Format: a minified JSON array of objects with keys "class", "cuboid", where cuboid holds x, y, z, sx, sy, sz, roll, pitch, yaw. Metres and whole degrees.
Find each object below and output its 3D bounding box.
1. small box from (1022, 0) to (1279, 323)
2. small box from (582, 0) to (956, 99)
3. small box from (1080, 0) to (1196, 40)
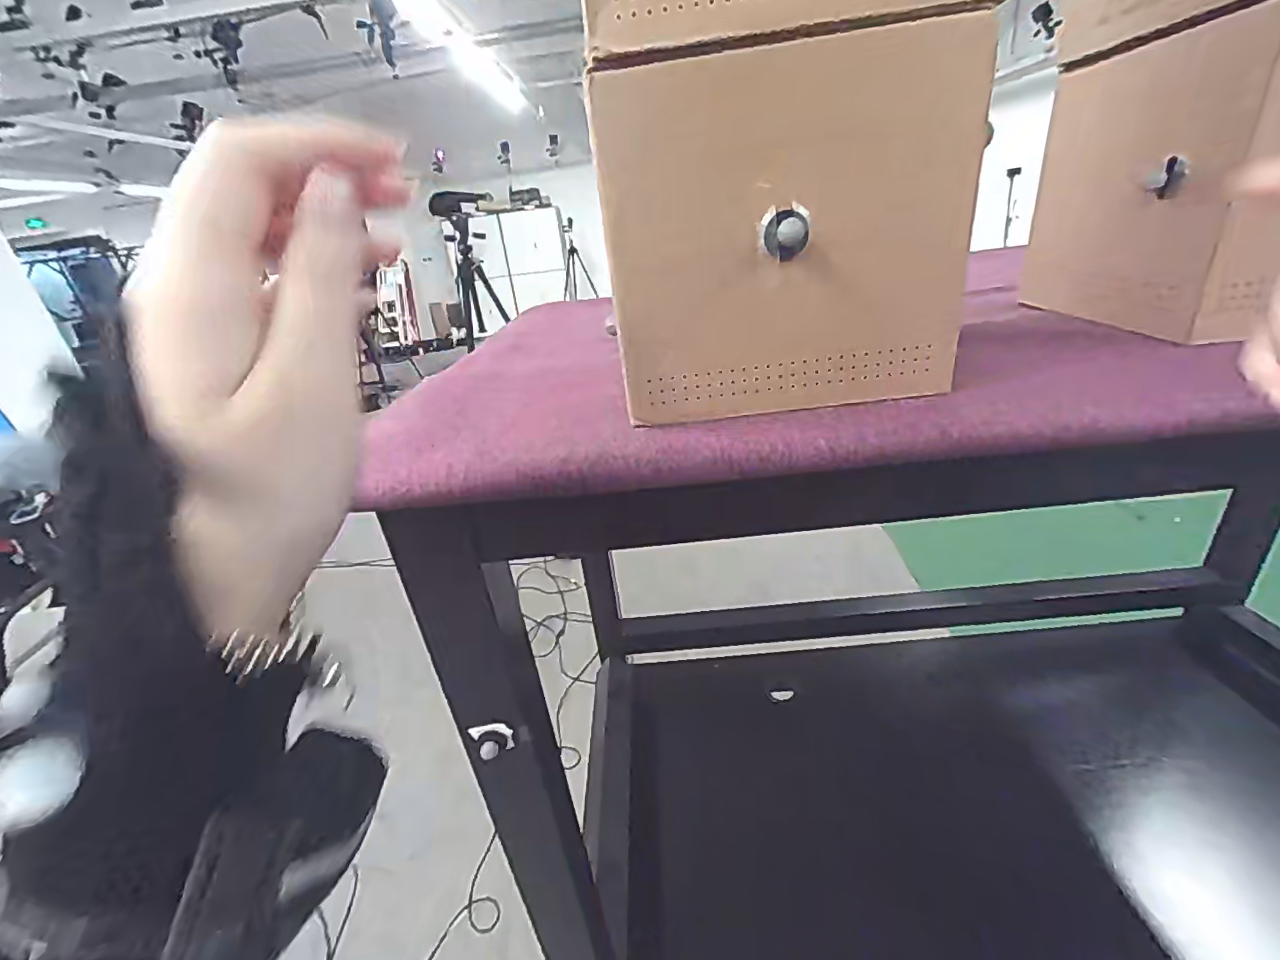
[{"class":"small box","cuboid":[0.386,-0.199,0.341,0.168,0.176,0.179,-5,25,4]},{"class":"small box","cuboid":[0.051,-0.297,0.251,0.179,0.176,0.168,-8,27,3]},{"class":"small box","cuboid":[0.367,-0.347,0.270,0.179,0.176,0.168,-4,27,5]}]
